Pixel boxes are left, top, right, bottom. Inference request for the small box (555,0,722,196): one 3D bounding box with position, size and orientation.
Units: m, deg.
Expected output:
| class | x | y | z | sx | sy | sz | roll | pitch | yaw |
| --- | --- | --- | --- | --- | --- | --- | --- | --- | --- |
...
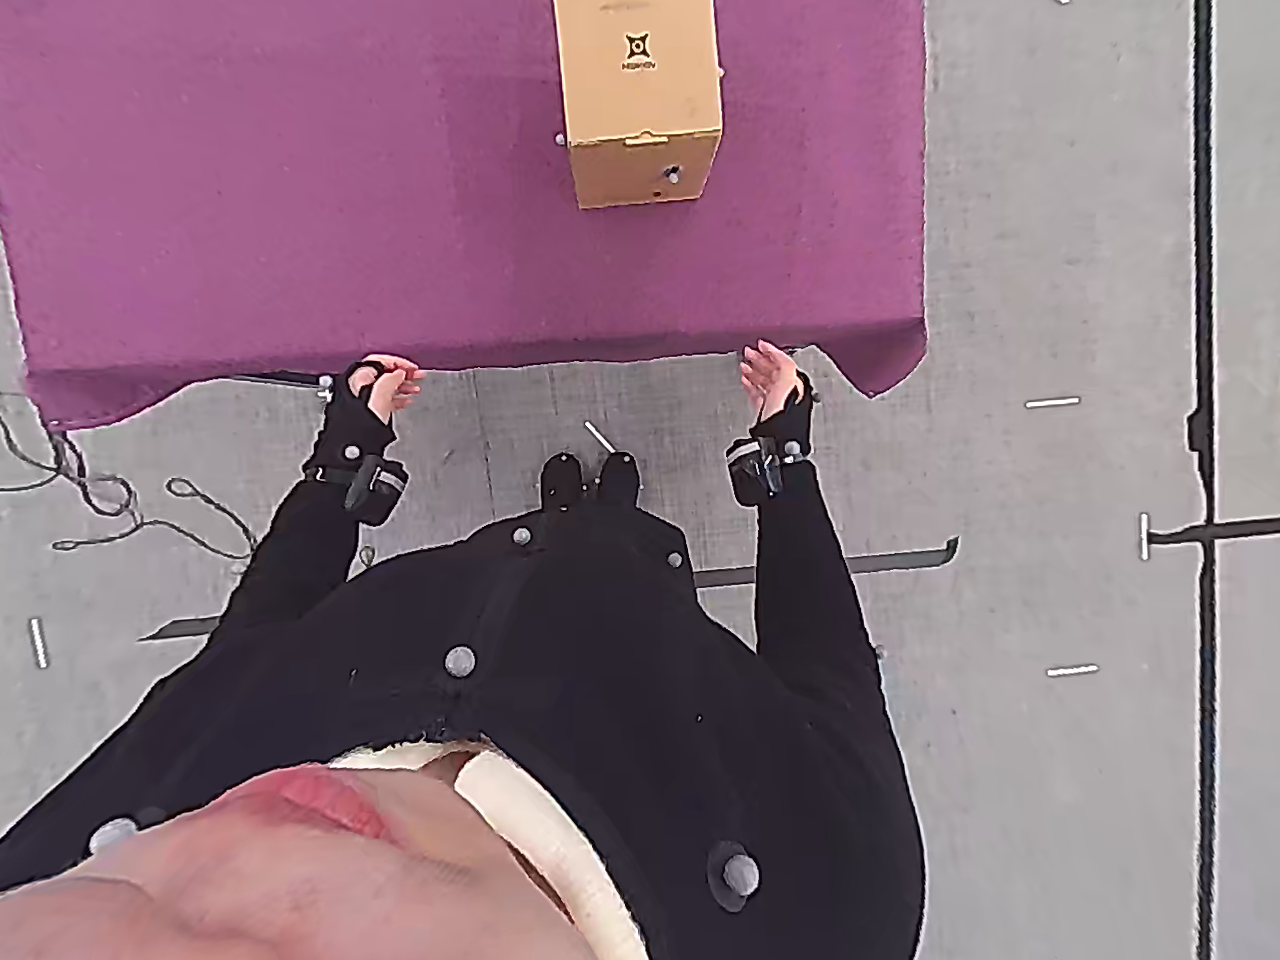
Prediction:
| class | x | y | z | sx | sy | sz | roll | pitch | yaw |
| --- | --- | --- | --- | --- | --- | --- | --- | --- | --- |
| small box | -0.003 | -0.453 | 0.634 | 0.168 | 0.176 | 0.179 | -5 | 96 | -2 |
